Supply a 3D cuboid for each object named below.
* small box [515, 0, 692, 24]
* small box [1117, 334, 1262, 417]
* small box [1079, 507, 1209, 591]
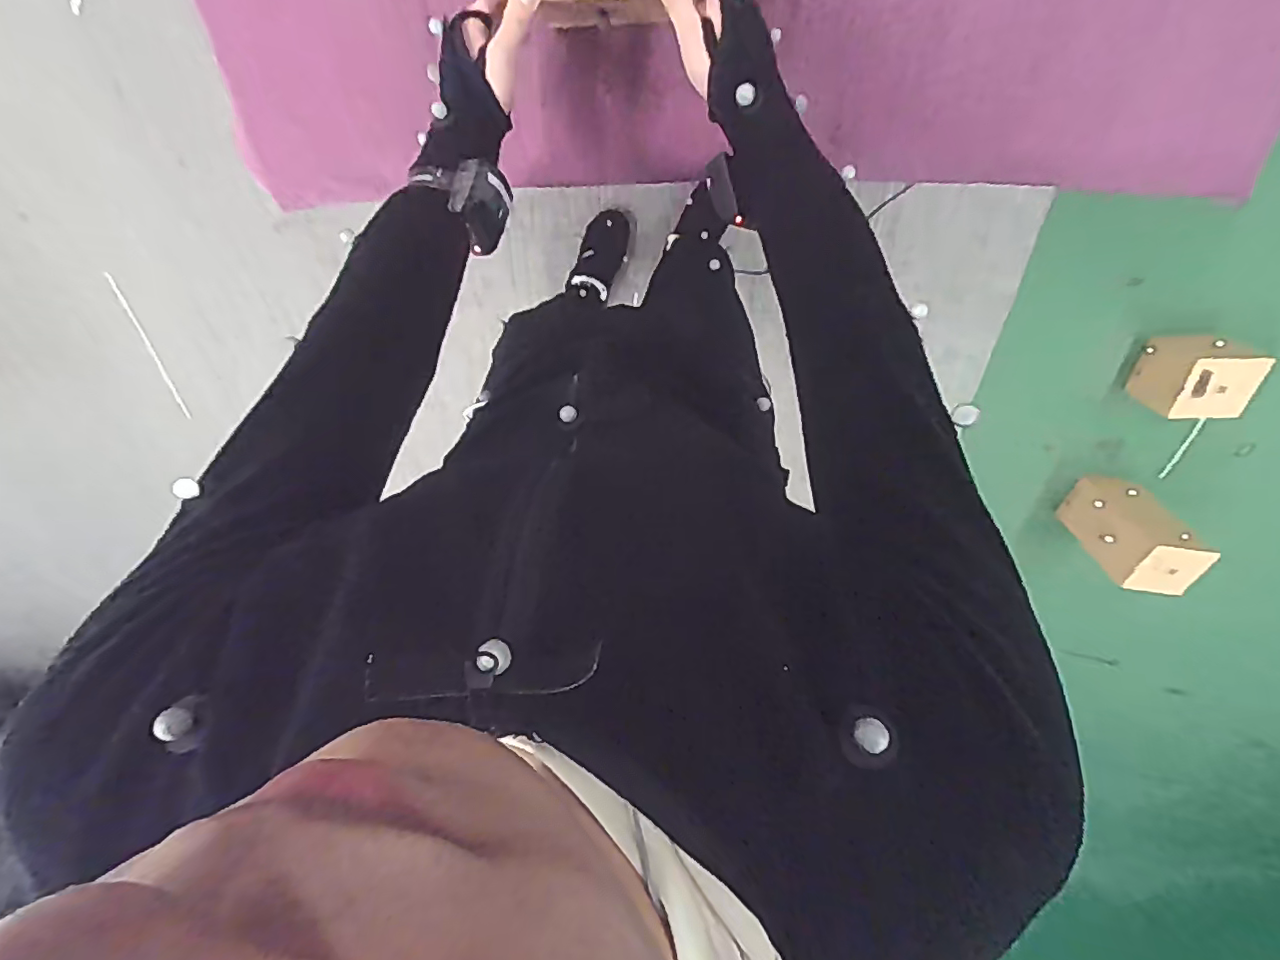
[{"bbox_3d":[-0.034,-0.531,0.478,0.168,0.176,0.179,0,126,4],"label":"small box"},{"bbox_3d":[1.429,-0.278,1.426,0.179,0.176,0.168,0,125,4],"label":"small box"},{"bbox_3d":[1.436,0.195,1.557,0.179,0.176,0.168,8,125,-1],"label":"small box"}]
